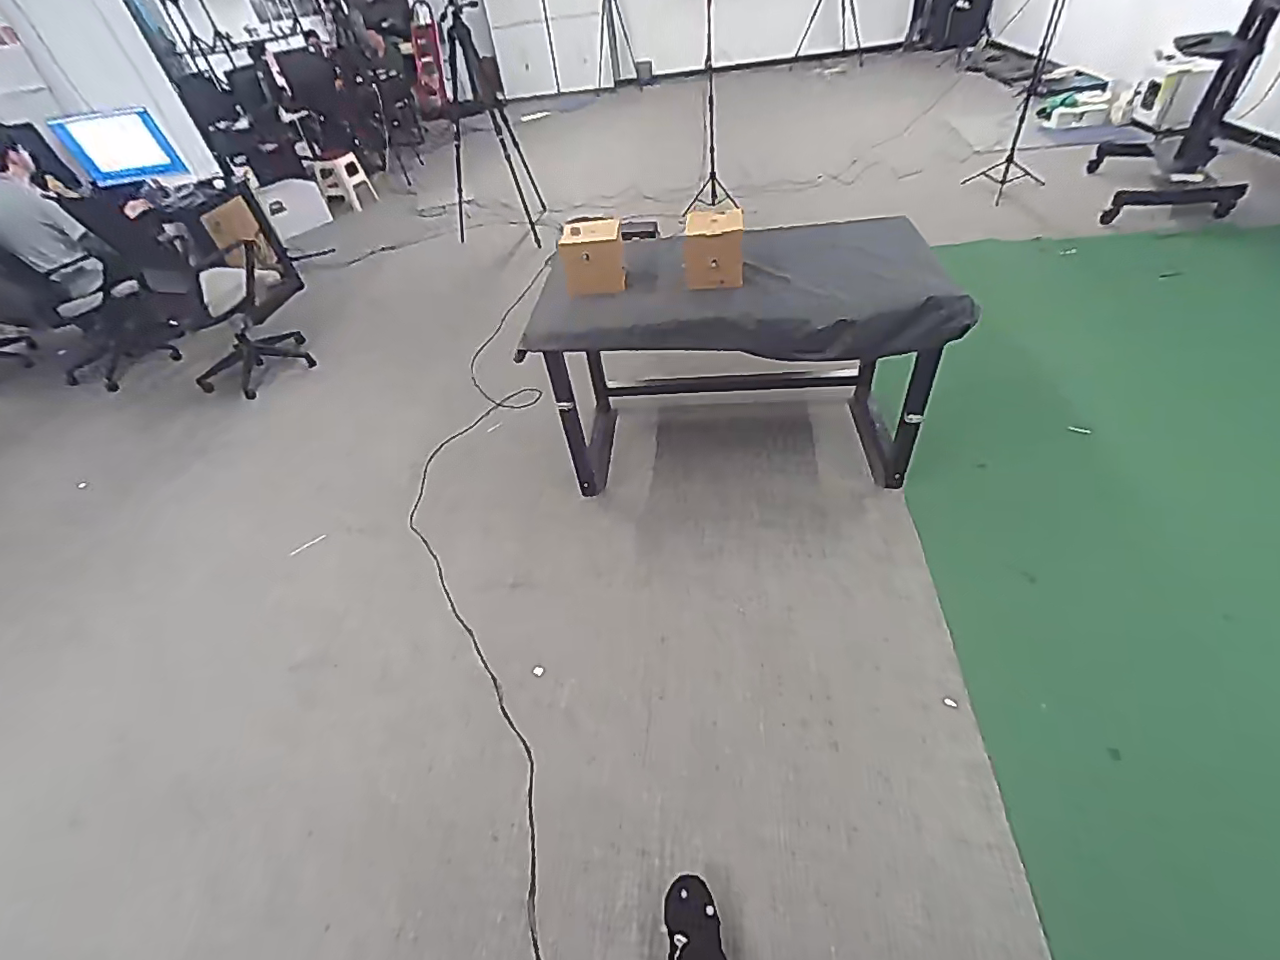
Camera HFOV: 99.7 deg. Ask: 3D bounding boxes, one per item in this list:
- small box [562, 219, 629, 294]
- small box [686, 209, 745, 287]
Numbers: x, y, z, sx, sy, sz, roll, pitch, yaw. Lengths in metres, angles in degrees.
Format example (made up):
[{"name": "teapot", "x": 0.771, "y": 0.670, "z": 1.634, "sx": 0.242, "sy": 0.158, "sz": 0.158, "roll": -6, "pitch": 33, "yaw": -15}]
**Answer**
[{"name": "small box", "x": -0.133, "y": -0.695, "z": 1.692, "sx": 0.179, "sy": 0.176, "sz": 0.168, "roll": -3, "pitch": 44, "yaw": 5}, {"name": "small box", "x": 0.232, "y": -0.694, "z": 1.633, "sx": 0.168, "sy": 0.176, "sz": 0.179, "roll": 0, "pitch": 45, "yaw": 9}]
